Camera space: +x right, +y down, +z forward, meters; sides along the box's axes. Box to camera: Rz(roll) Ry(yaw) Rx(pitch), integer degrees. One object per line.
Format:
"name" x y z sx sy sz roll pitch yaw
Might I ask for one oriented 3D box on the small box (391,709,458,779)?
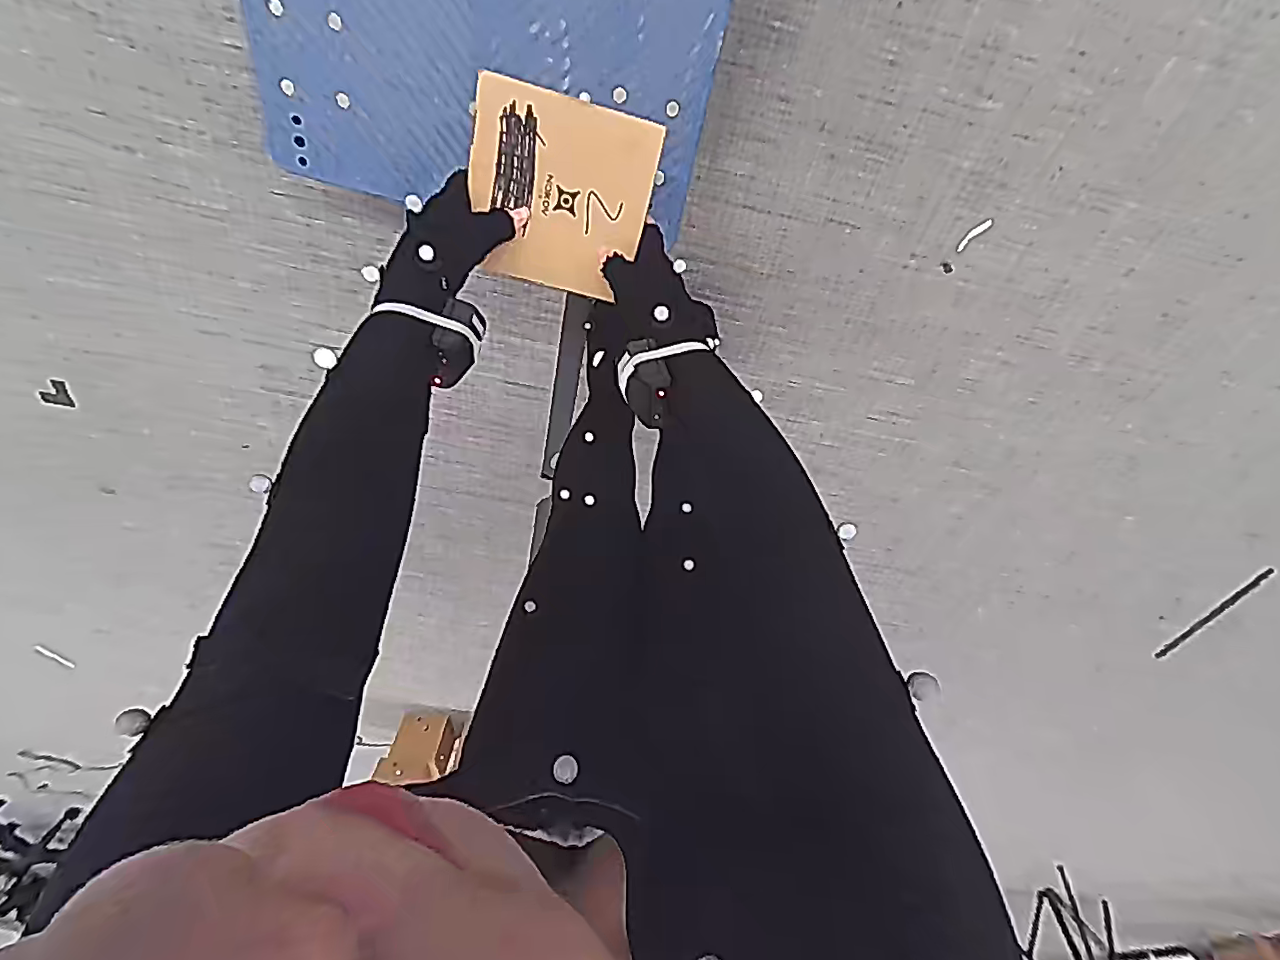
"small box" -0.786 0.971 1.990 0.168 0.176 0.179 4 127 1

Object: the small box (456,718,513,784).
"small box" -0.572 1.007 2.006 0.168 0.176 0.179 7 128 -2

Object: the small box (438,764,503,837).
"small box" -0.581 1.111 1.880 0.168 0.176 0.179 5 127 1

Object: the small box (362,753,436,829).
"small box" -0.820 1.071 1.862 0.168 0.176 0.179 4 126 0
